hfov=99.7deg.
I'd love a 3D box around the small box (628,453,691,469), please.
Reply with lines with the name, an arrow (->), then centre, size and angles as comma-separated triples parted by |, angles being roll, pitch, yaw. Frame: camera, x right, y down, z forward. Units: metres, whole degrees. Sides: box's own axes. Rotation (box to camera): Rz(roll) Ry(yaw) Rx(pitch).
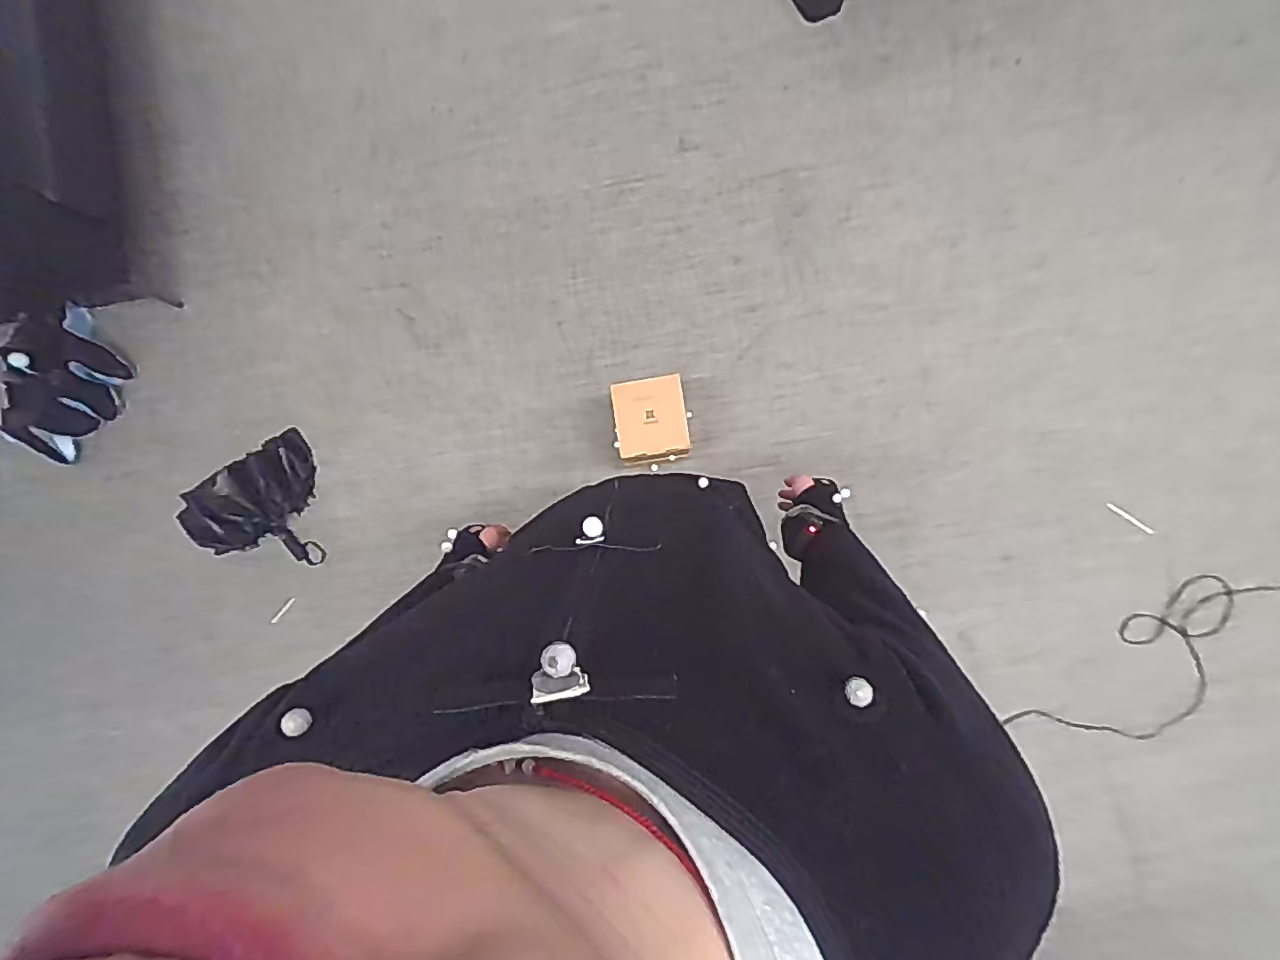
small box -> 0.044, -0.129, 1.479 | 0.168, 0.176, 0.179 | -8, 88, 4

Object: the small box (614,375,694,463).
small box -> 0.037, -0.140, 1.317 | 0.168, 0.176, 0.179 | -10, 86, 2
